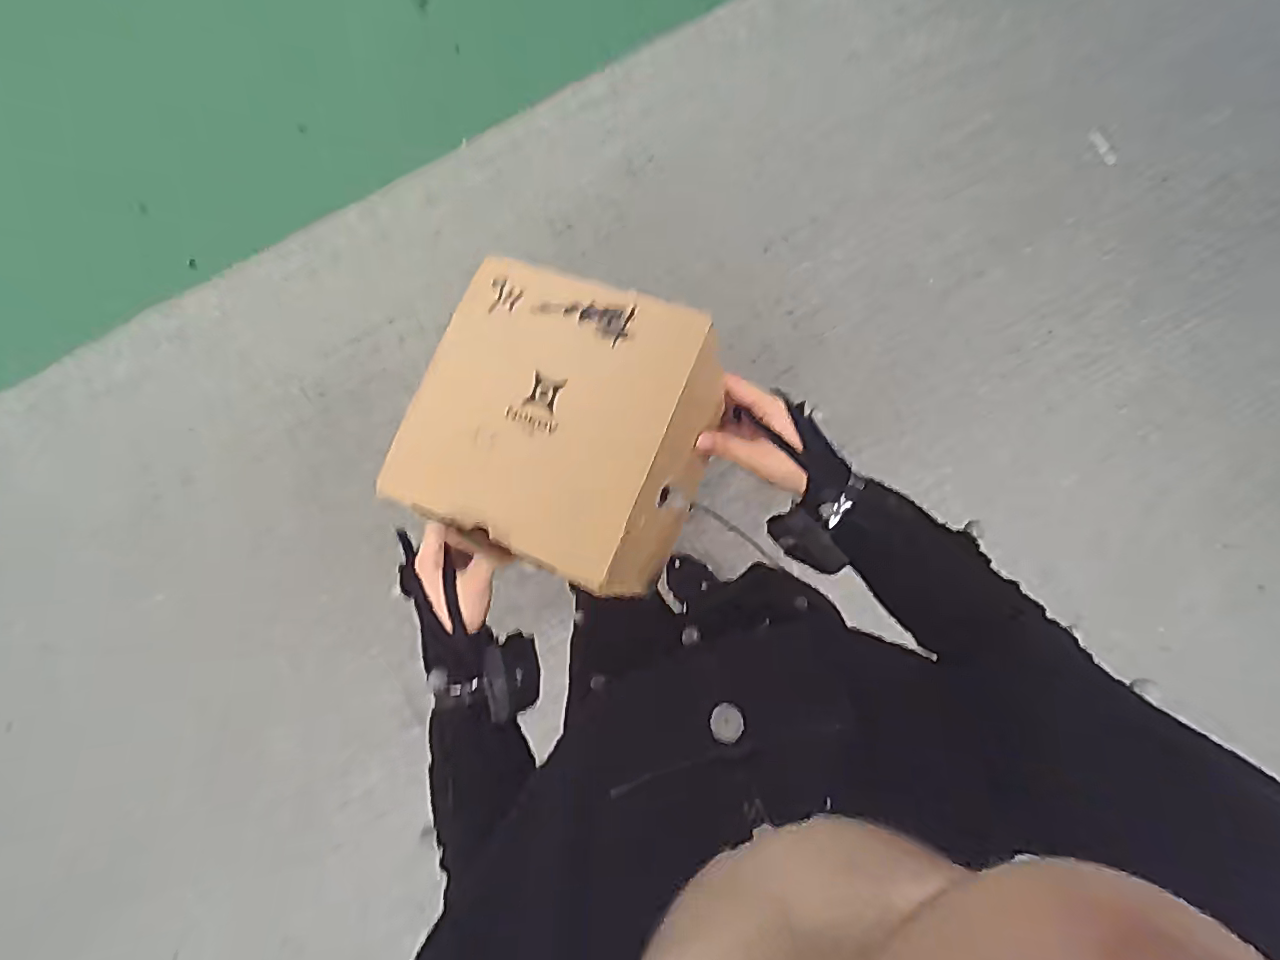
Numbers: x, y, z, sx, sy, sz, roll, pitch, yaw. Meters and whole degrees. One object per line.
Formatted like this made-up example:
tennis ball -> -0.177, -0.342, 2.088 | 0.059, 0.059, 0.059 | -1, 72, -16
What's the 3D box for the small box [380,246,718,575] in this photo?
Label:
small box -> -0.046, -0.036, 0.411 | 0.168, 0.176, 0.179 | 21, 84, 15
